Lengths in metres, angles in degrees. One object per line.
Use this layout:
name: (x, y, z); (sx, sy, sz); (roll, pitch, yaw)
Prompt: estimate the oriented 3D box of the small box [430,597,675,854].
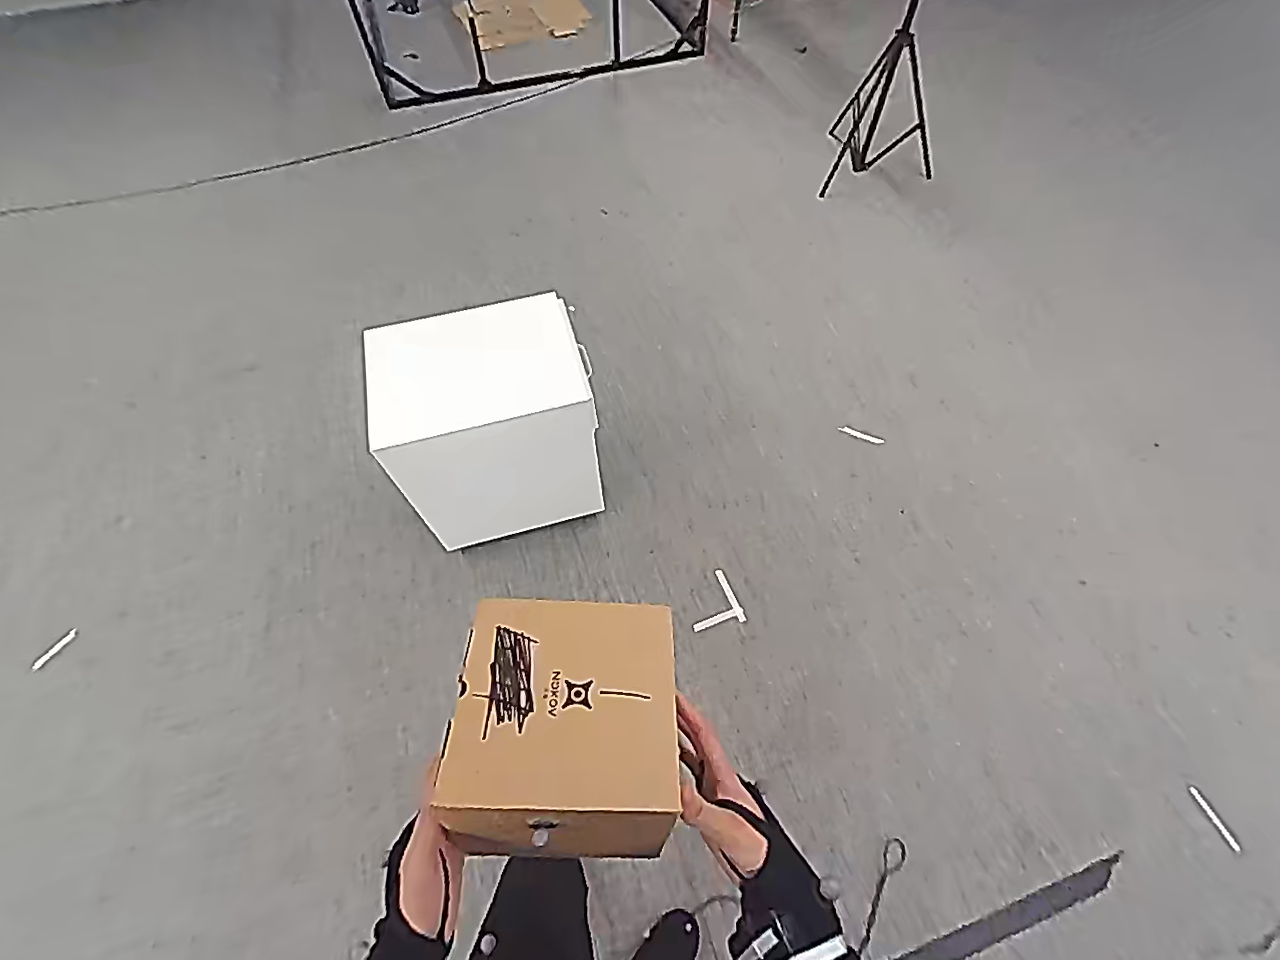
small box: (-0.066, 0.224, 0.490); (0.179, 0.176, 0.168); (4, 45, -3)
